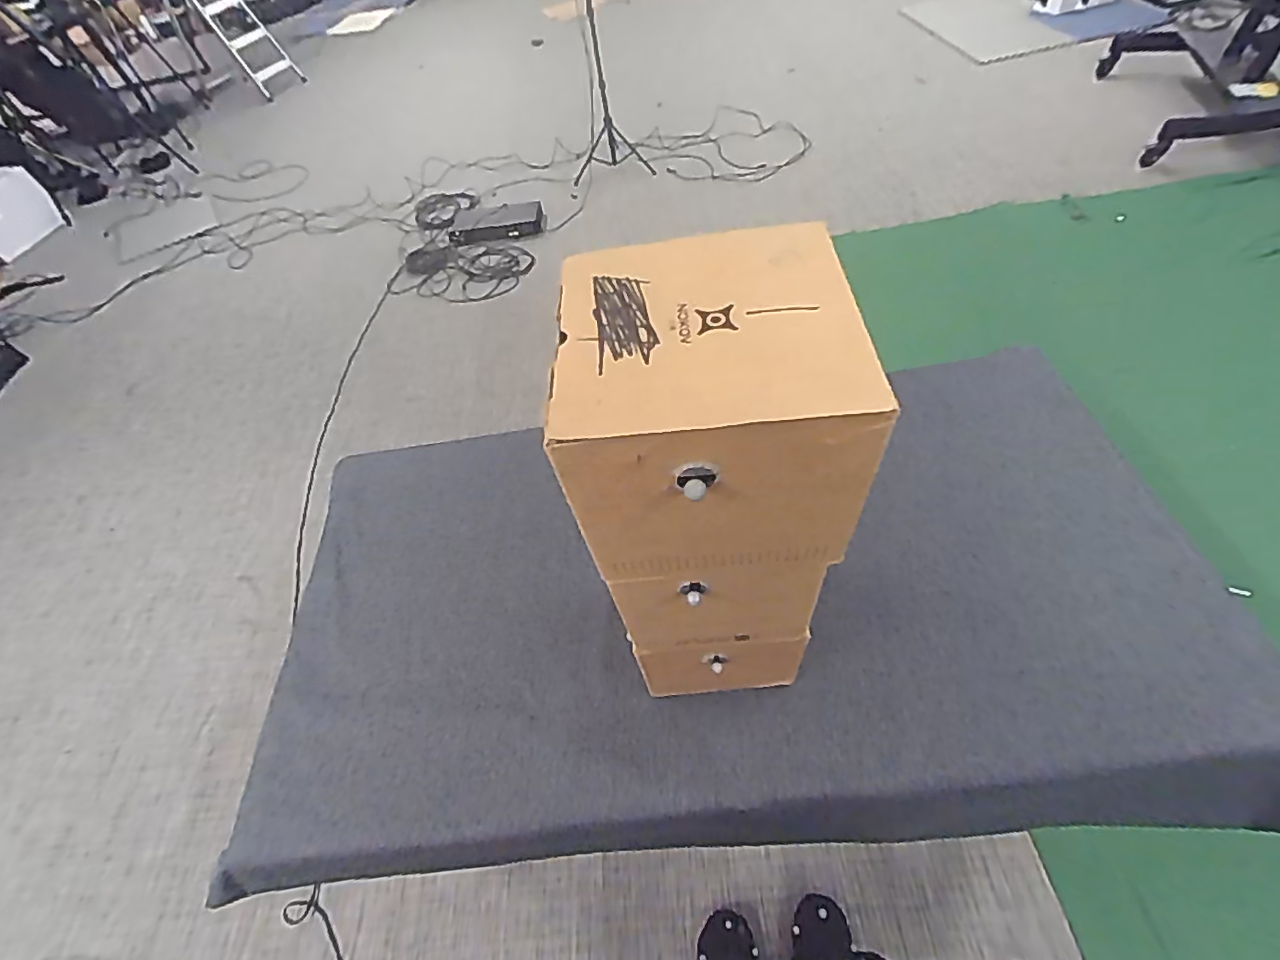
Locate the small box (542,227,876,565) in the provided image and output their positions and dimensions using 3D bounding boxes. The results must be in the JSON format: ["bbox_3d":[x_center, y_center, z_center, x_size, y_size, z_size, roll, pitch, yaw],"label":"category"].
[{"bbox_3d":[0.044,-0.049,0.387,0.179,0.176,0.168,-5,55,5],"label":"small box"}]

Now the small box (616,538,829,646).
[{"bbox_3d":[0.066,0.043,0.525,0.168,0.176,0.179,-8,55,3],"label":"small box"}]

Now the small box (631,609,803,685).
[{"bbox_3d":[0.085,0.139,0.654,0.179,0.176,0.168,-7,54,4],"label":"small box"}]
